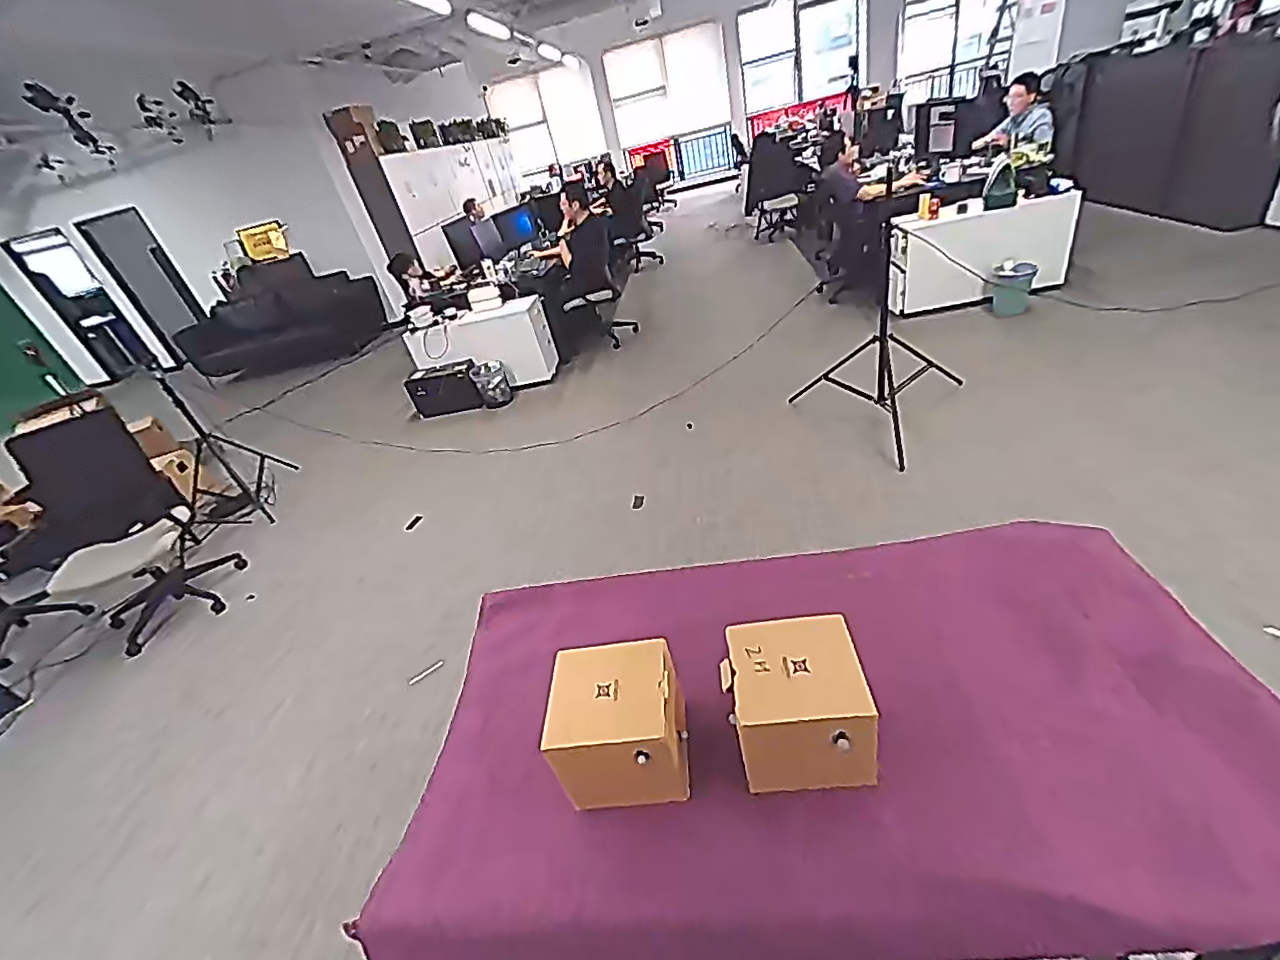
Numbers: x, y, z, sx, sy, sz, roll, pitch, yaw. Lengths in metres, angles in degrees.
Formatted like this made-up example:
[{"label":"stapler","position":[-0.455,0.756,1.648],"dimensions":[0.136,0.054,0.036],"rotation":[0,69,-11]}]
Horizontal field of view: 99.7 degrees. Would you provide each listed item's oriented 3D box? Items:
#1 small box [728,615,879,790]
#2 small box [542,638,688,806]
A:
[{"label":"small box","position":[0.230,0.323,0.786],"dimensions":[0.179,0.176,0.168],"rotation":[-10,32,9]},{"label":"small box","position":[-0.030,0.370,0.823],"dimensions":[0.179,0.176,0.168],"rotation":[-10,33,7]}]
